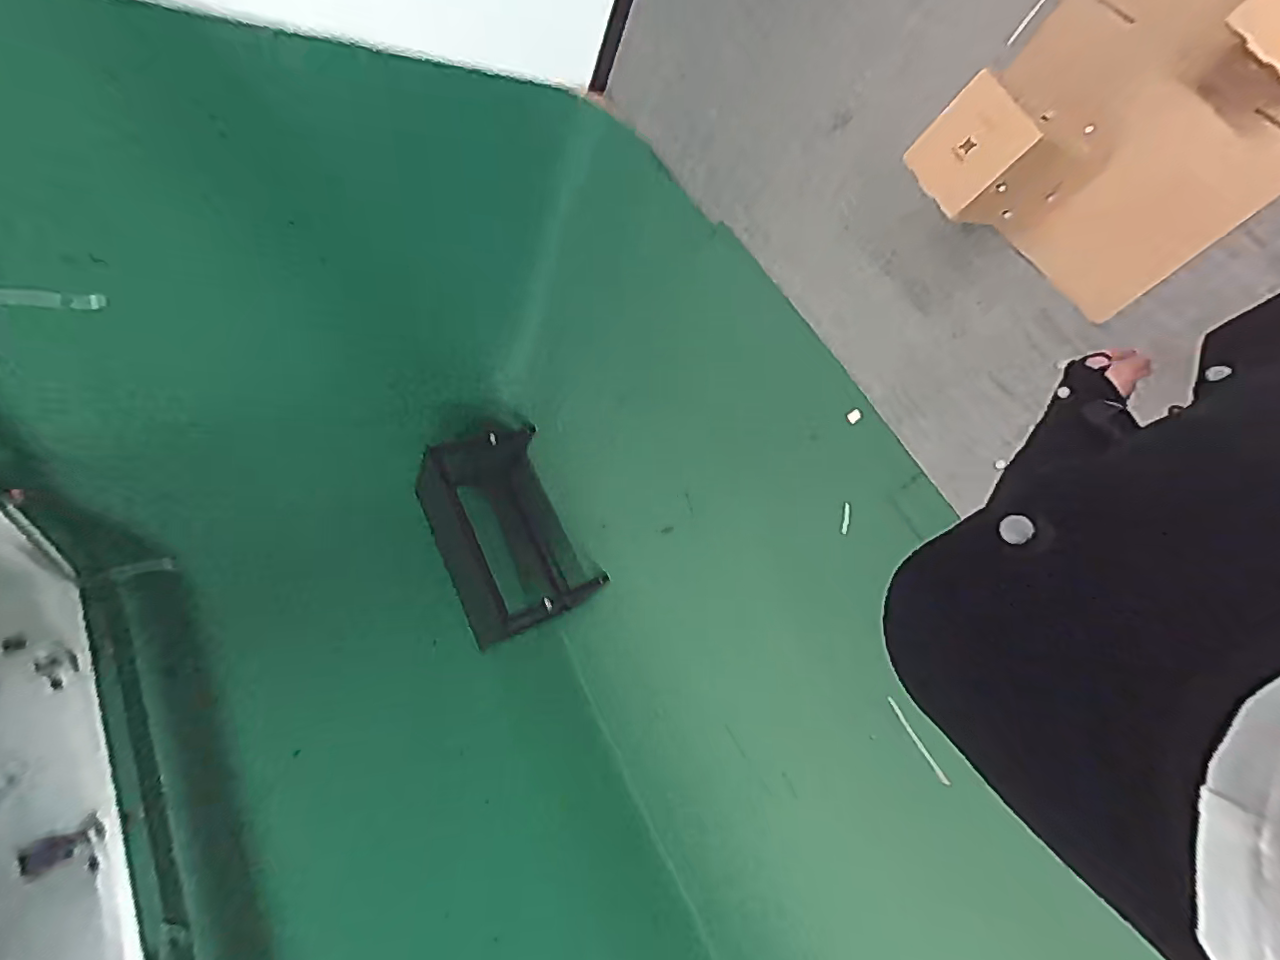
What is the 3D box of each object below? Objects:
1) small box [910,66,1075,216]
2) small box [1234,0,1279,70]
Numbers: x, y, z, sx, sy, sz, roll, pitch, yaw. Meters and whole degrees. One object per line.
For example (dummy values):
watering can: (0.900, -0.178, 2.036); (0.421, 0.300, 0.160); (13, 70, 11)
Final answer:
small box: (0.664, -0.625, 1.021); (0.168, 0.176, 0.179); (63, 143, 13)
small box: (1.141, -0.779, 0.876); (0.168, 0.176, 0.179); (63, 145, 15)
